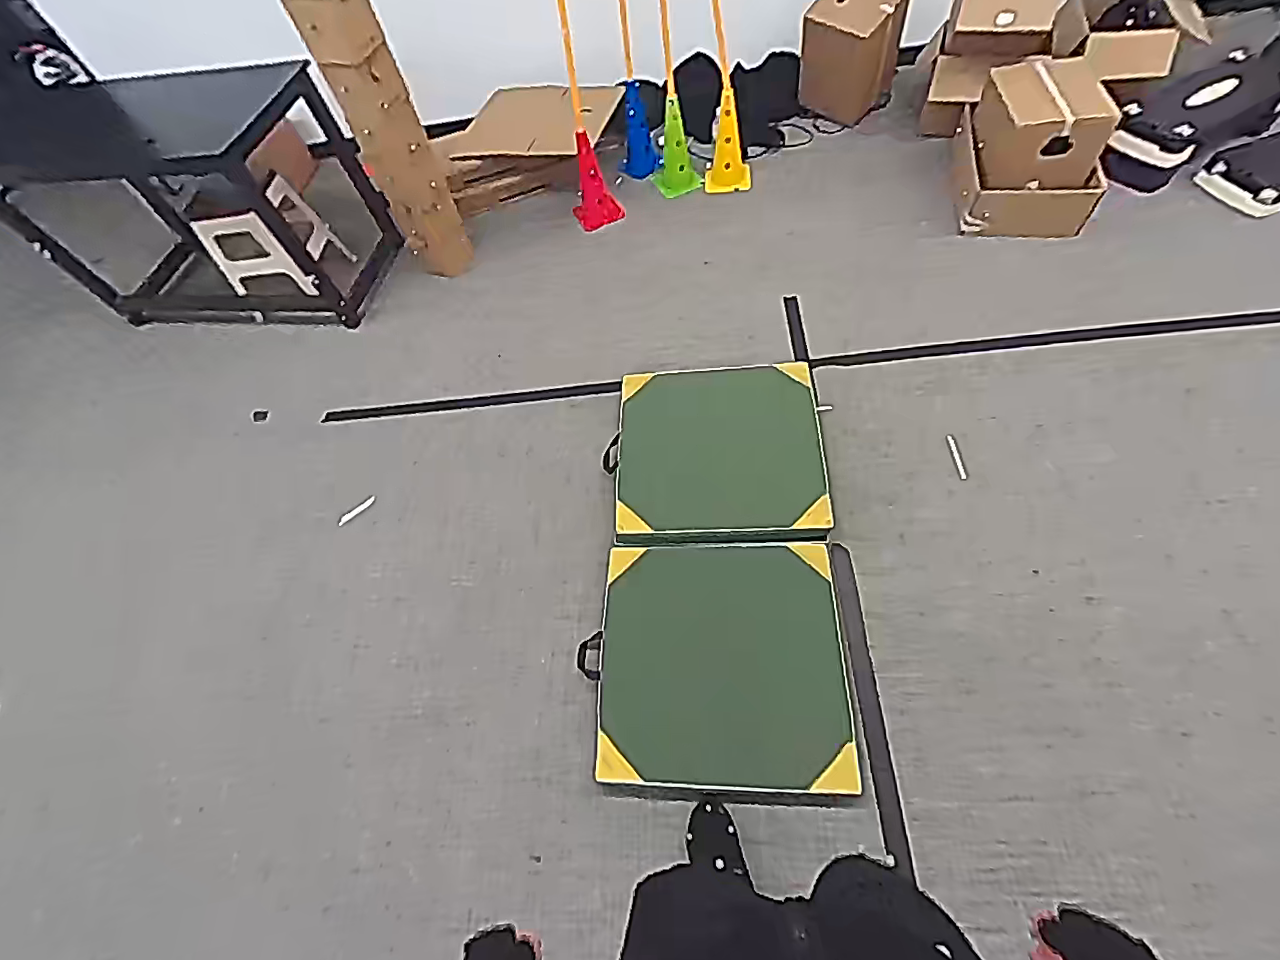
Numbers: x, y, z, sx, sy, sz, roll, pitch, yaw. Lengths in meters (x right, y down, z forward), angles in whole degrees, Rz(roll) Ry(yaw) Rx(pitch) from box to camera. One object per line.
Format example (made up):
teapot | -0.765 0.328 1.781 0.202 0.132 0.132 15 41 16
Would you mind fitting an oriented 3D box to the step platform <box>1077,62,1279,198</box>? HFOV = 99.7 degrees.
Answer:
step platform | 2.088 -1.359 2.088 0.684 0.204 0.286 -29 59 -8
